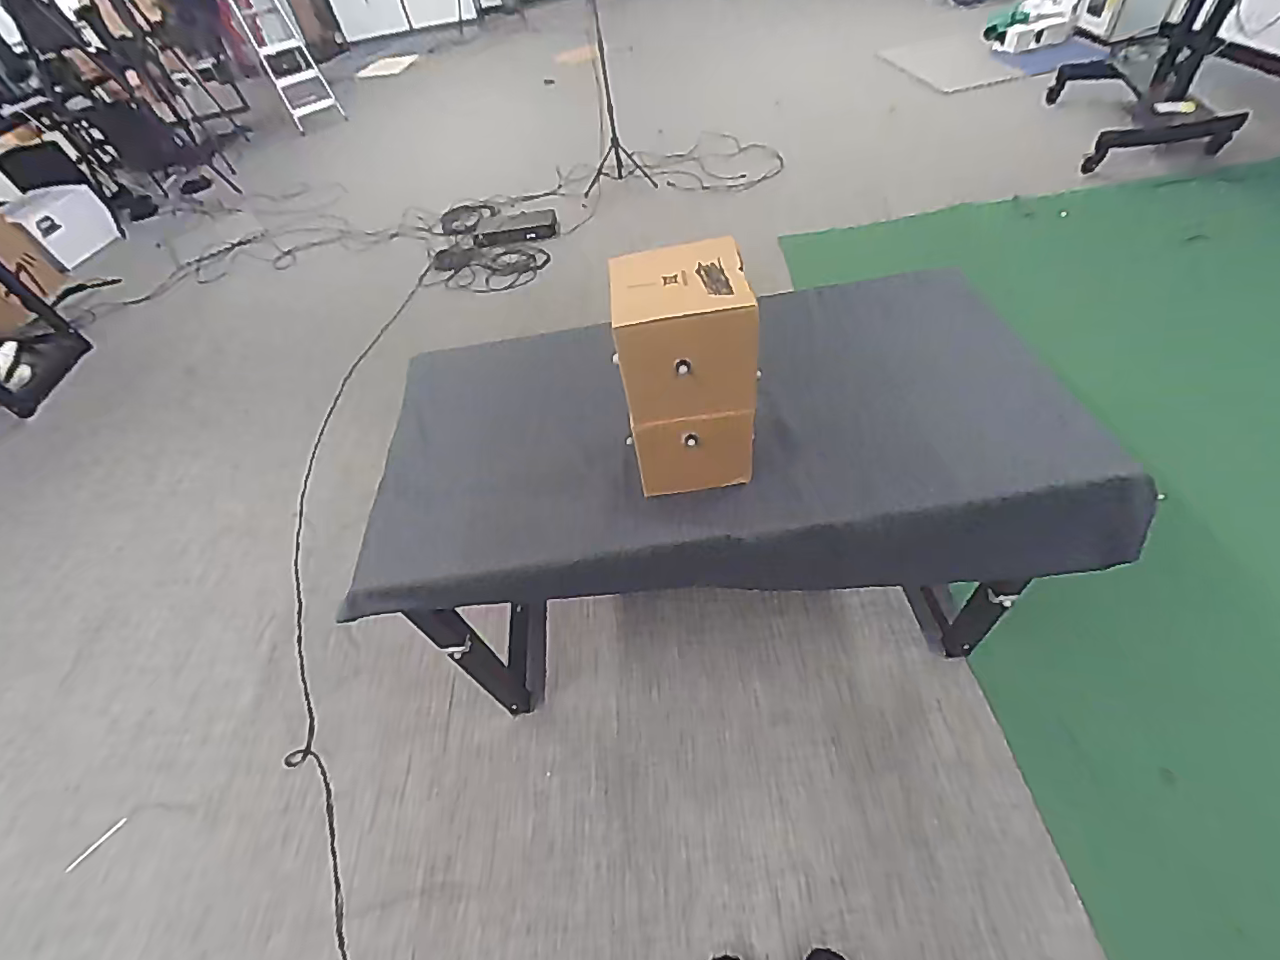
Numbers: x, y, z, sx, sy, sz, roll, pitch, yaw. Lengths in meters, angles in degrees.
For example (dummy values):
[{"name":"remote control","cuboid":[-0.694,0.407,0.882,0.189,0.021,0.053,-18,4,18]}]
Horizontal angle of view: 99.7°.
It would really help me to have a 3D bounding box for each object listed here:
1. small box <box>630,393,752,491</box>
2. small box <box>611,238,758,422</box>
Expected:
[{"name":"small box","cuboid":[0.078,-0.097,0.874,0.179,0.176,0.168,-7,51,2]},{"name":"small box","cuboid":[0.060,-0.201,0.748,0.179,0.176,0.168,-8,51,5]}]
